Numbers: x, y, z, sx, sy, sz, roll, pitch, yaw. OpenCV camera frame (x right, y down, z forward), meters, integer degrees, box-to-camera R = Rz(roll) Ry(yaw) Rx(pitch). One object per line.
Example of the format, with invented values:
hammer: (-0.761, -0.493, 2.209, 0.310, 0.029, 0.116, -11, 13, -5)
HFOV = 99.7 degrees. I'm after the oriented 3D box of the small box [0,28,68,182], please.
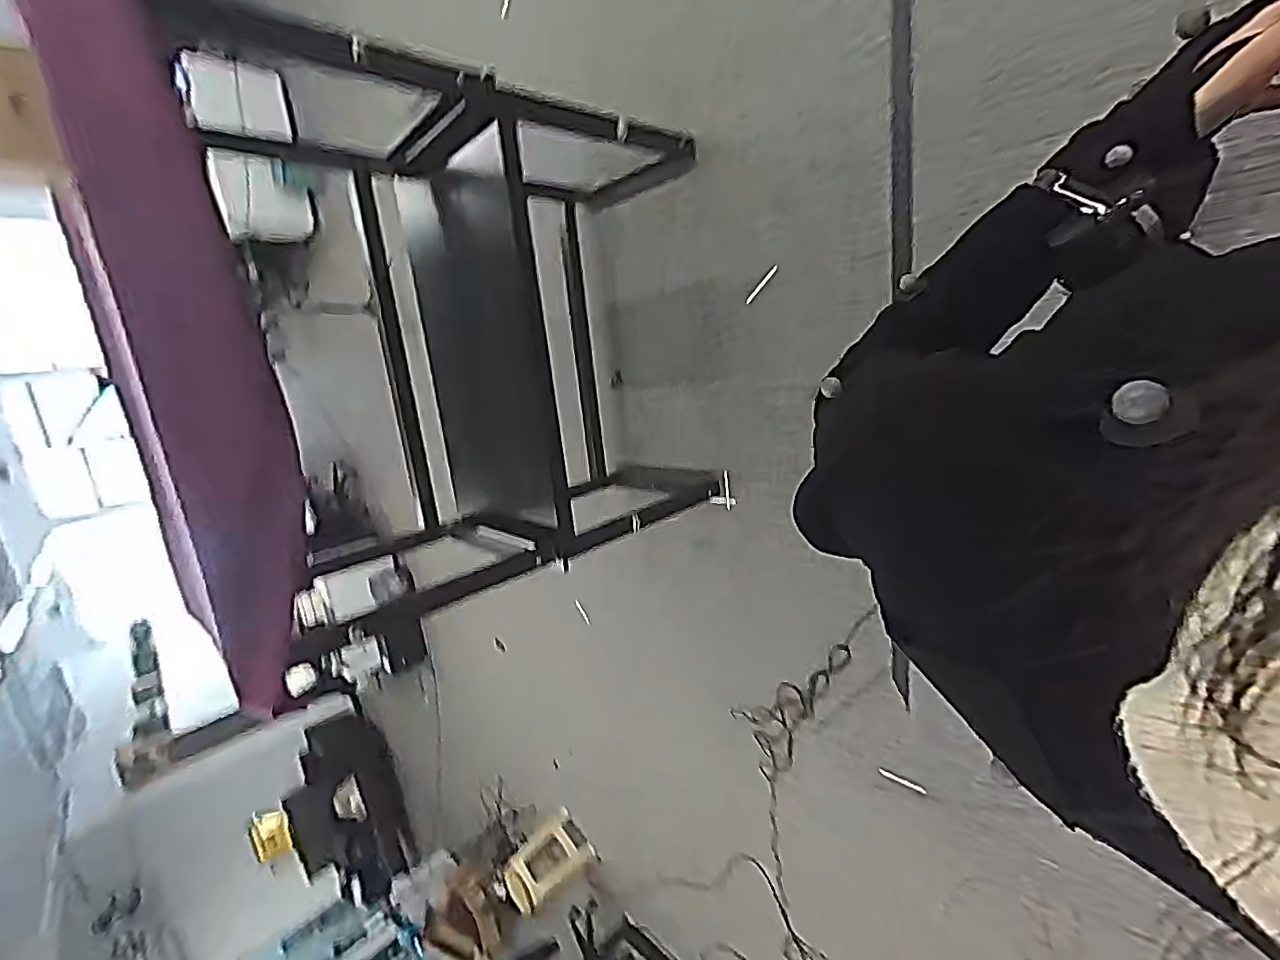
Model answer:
small box: (-1.009, -0.574, 0.816, 0.168, 0.176, 0.179, 11, 111, 46)
